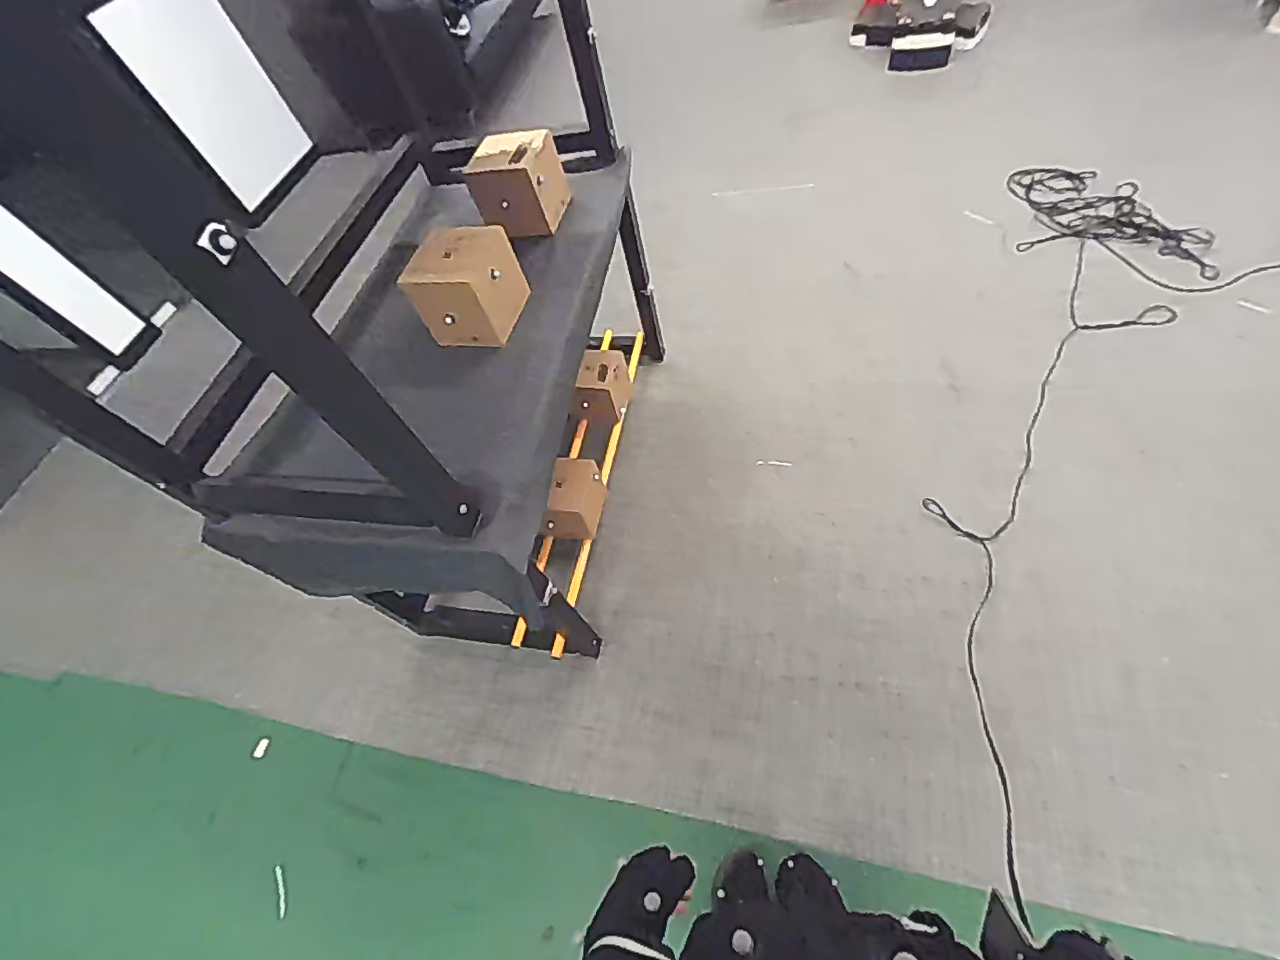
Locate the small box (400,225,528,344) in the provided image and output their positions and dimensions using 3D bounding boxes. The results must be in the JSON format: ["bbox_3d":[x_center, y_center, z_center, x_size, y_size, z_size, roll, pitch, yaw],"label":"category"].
[{"bbox_3d":[-0.357,-0.405,1.134,0.168,0.176,0.179,6,59,16],"label":"small box"}]

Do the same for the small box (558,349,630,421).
[{"bbox_3d":[-0.143,-0.309,1.780,0.179,0.176,0.168,6,59,16],"label":"small box"}]
